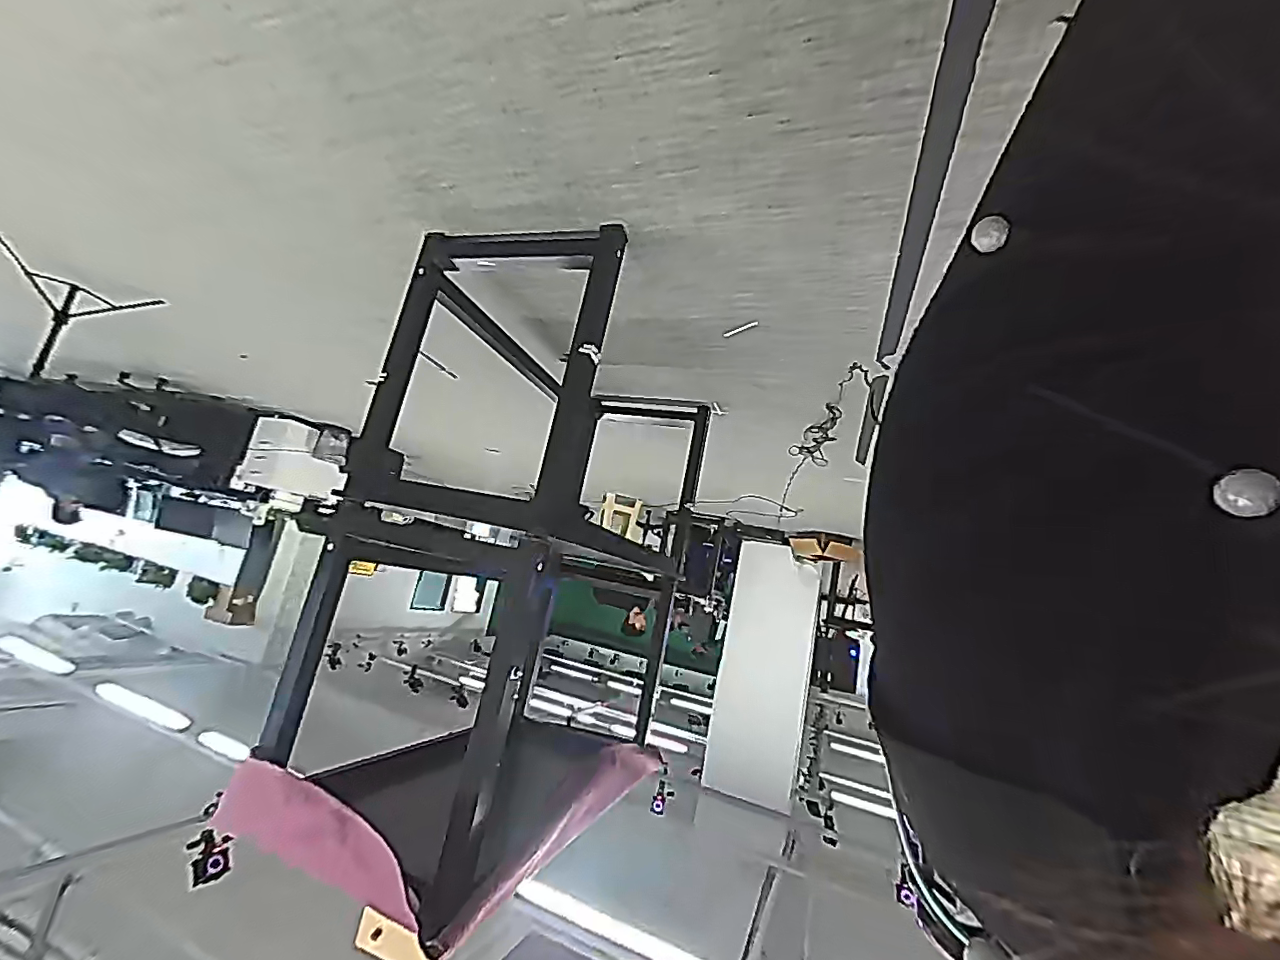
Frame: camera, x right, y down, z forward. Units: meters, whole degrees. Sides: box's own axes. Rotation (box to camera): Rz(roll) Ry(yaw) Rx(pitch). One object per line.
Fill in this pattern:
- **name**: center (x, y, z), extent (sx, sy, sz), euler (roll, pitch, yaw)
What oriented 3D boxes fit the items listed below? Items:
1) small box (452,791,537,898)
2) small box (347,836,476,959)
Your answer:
- **small box**: center (-0.402, 0.990, 1.488), extent (0.179, 0.176, 0.168), euler (8, 168, 25)
- **small box**: center (-0.487, 0.913, 1.176), extent (0.179, 0.176, 0.168), euler (9, 169, 16)
